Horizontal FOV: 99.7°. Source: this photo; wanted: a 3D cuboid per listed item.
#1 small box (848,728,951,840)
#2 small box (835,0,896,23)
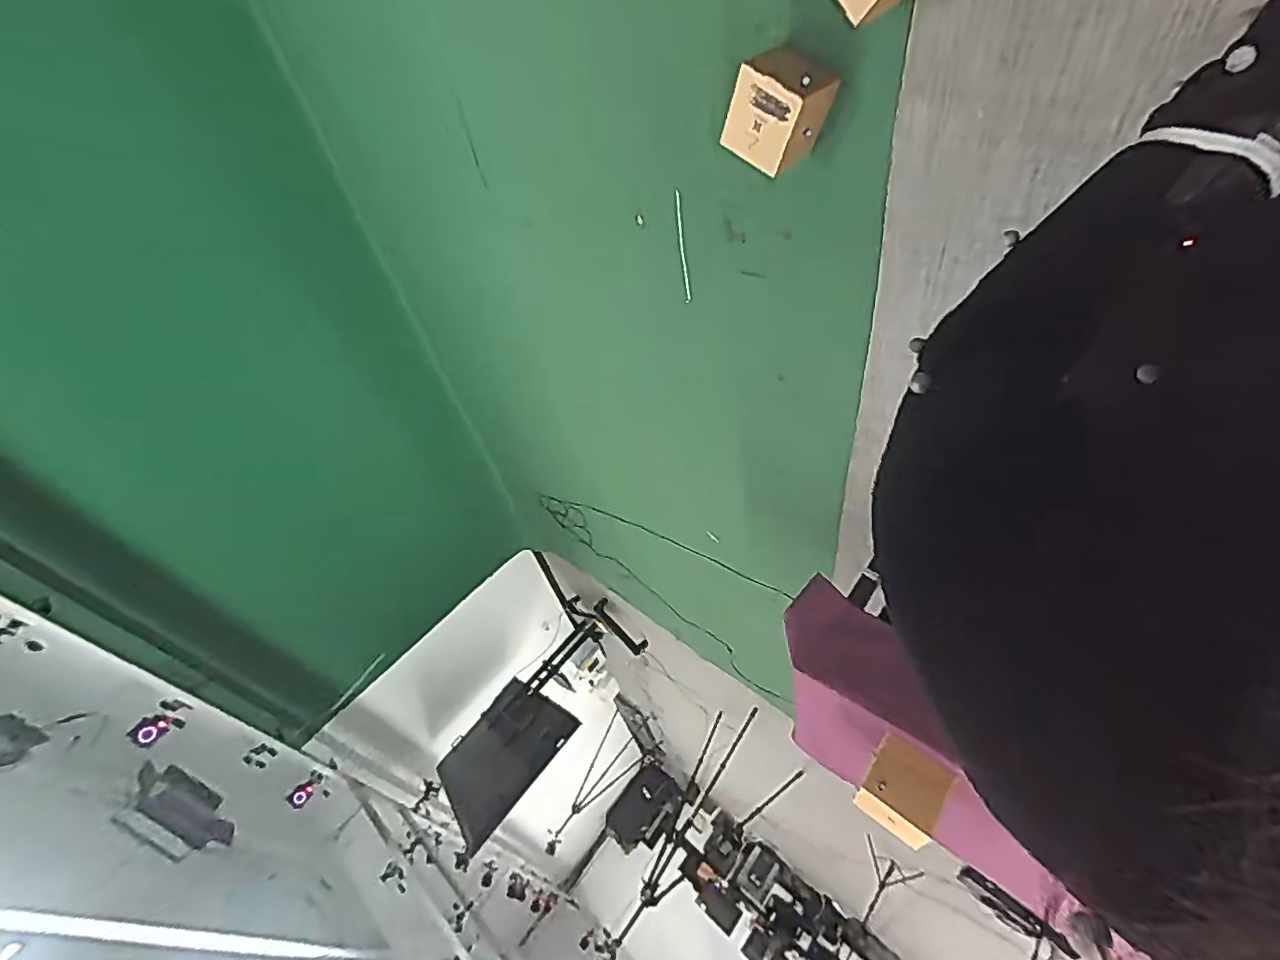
[{"bbox_3d":[0.670,0.783,1.400,0.179,0.176,0.168,30,150,30],"label":"small box"},{"bbox_3d":[0.426,-0.959,0.938,0.168,0.176,0.179,50,153,-7],"label":"small box"}]
